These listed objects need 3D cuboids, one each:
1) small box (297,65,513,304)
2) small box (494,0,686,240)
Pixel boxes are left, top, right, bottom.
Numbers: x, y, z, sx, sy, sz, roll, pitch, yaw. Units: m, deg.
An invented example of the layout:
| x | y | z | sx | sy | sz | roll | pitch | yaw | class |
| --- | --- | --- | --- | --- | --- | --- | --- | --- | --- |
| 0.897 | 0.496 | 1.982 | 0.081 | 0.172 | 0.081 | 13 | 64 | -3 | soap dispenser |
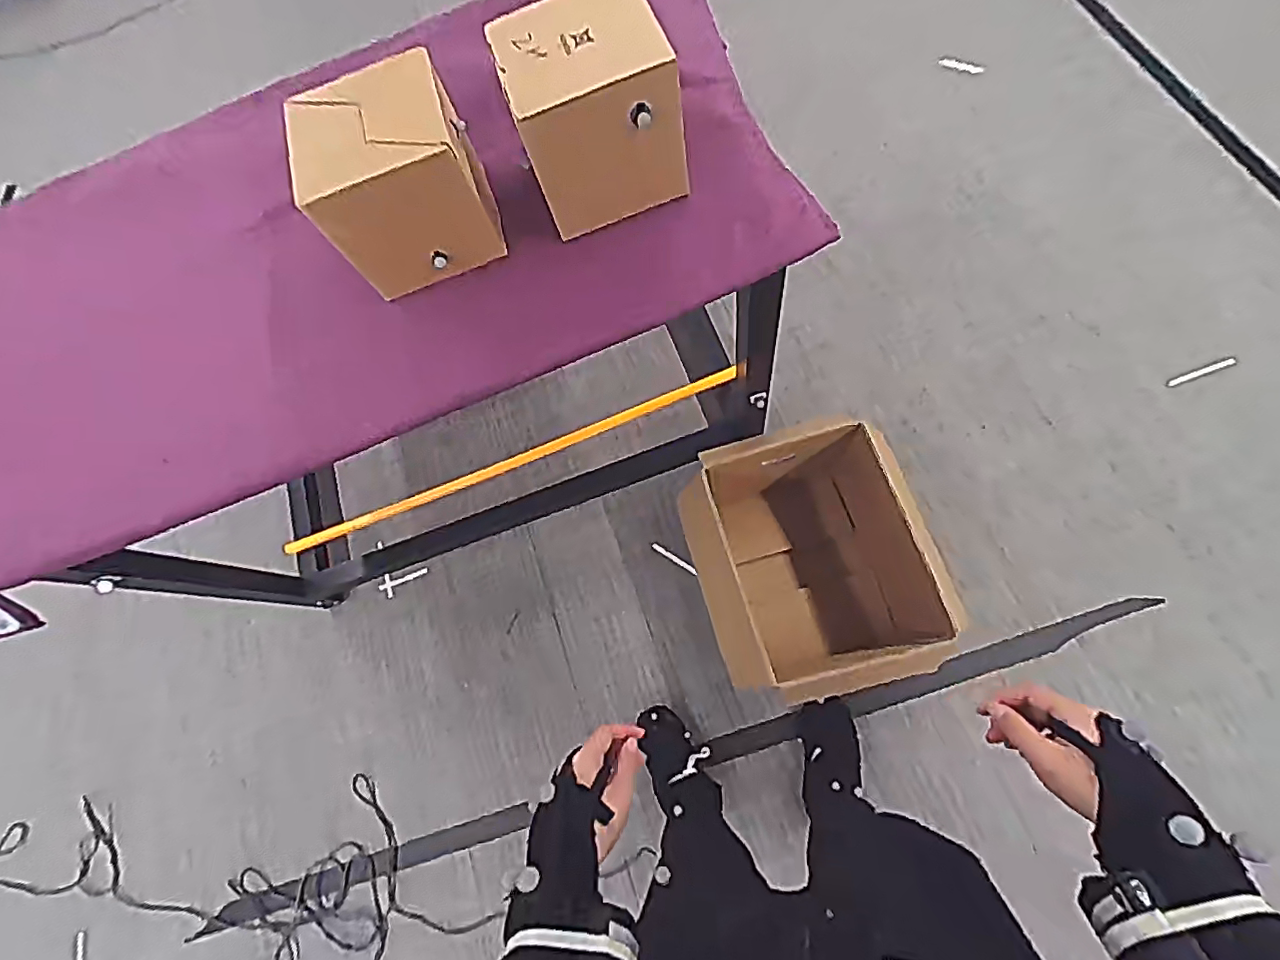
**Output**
| x | y | z | sx | sy | sz | roll | pitch | yaw | class |
| --- | --- | --- | --- | --- | --- | --- | --- | --- | --- |
| -0.284 | -0.357 | 0.664 | 0.179 | 0.176 | 0.168 | -20 | 69 | 3 | small box |
| -0.049 | -0.430 | 0.650 | 0.179 | 0.176 | 0.168 | -20 | 69 | 3 | small box |
